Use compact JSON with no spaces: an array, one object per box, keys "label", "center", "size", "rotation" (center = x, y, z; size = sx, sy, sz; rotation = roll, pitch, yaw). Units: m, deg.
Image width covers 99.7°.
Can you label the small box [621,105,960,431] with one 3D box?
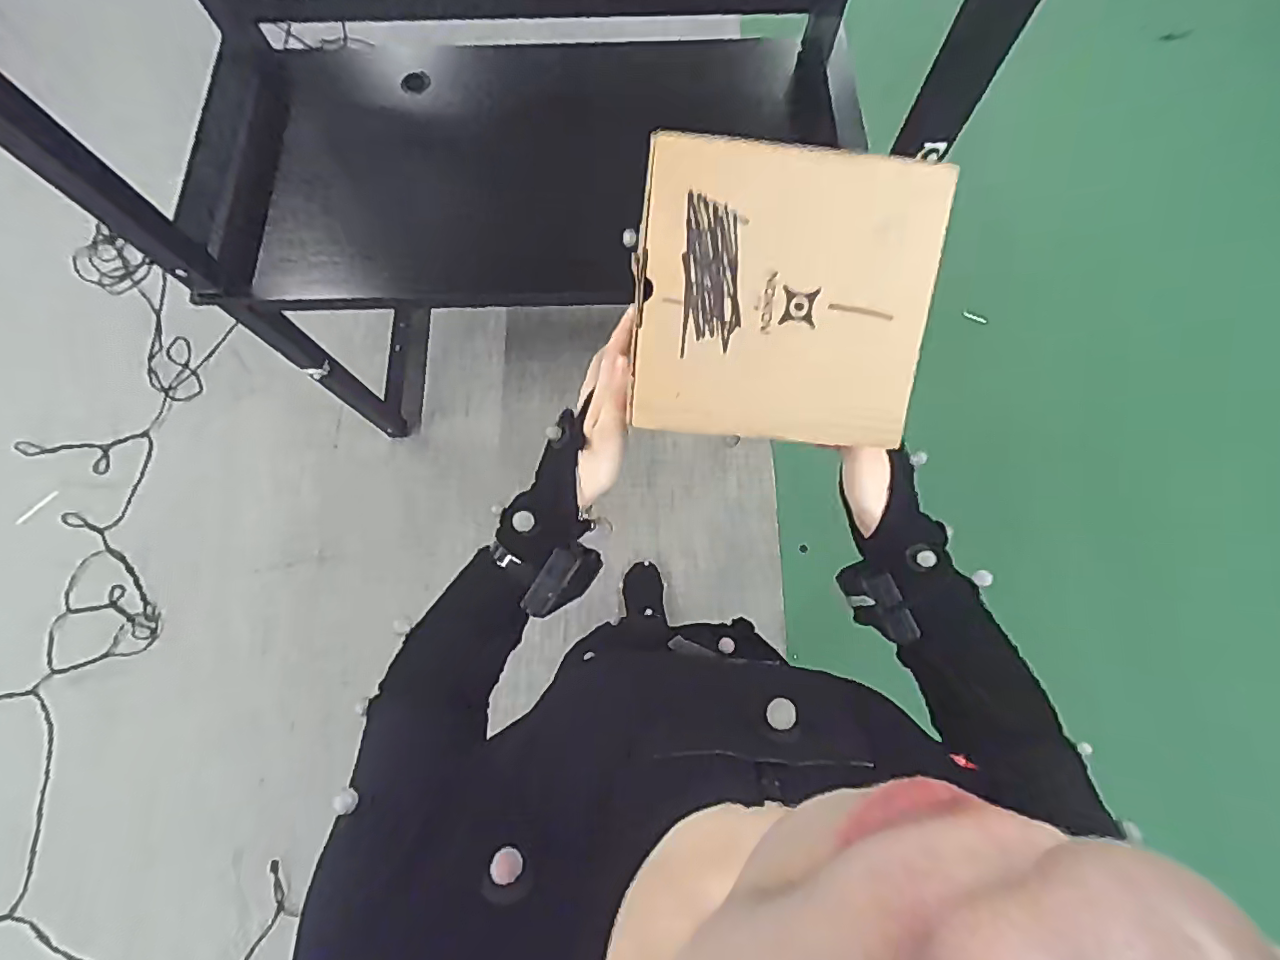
[{"label":"small box","center":[0.082,-0.137,0.391],"size":[0.179,0.176,0.168],"rotation":[5,105,-3]}]
